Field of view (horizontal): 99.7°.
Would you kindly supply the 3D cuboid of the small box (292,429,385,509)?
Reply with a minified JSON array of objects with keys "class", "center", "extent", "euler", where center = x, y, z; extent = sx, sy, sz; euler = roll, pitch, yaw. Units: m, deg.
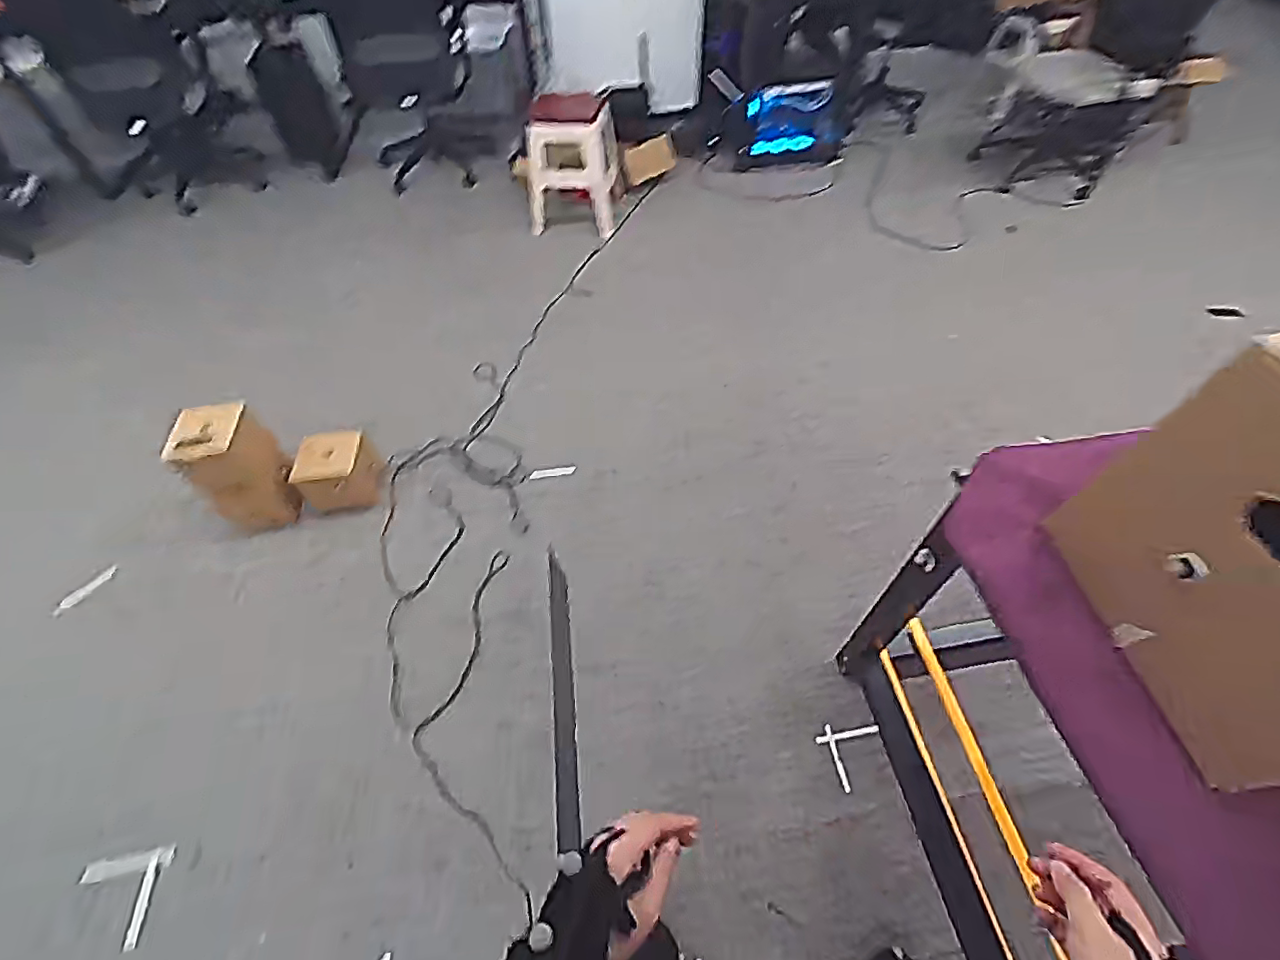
[{"class":"small box","center":[-0.893,-0.030,1.626],"extent":[0.179,0.176,0.168],"euler":[-7,53,-2]}]

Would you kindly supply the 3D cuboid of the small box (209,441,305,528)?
[{"class":"small box","center":[-1.121,0.016,1.605],"extent":[0.168,0.176,0.179],"euler":[-13,54,-7]}]
